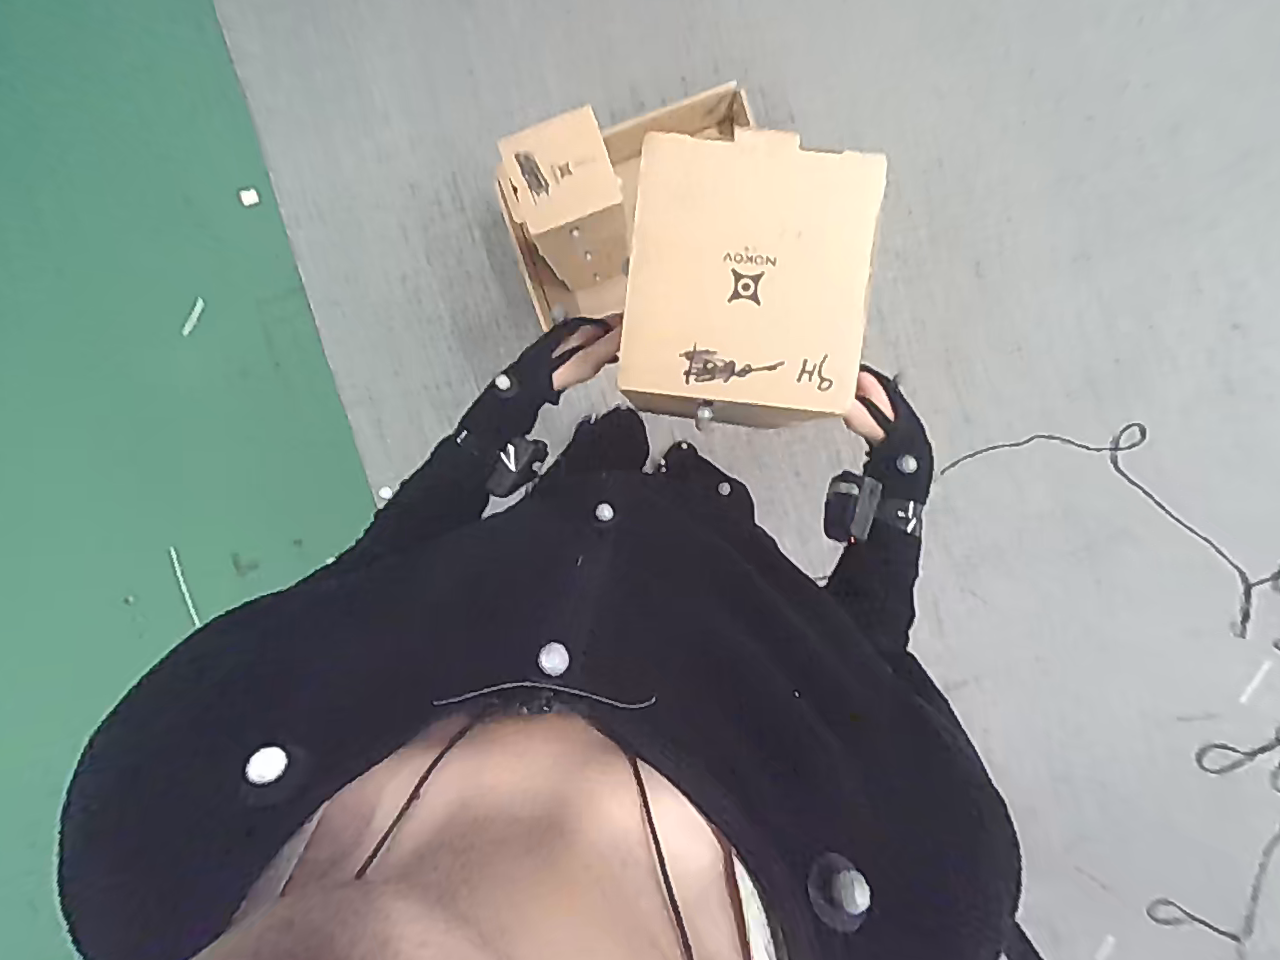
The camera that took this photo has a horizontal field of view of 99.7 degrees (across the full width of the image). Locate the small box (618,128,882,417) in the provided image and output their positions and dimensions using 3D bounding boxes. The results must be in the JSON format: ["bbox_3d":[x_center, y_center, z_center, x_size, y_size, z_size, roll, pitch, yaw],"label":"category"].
[{"bbox_3d":[0.078,-0.151,0.452,0.168,0.176,0.179,7,94,3],"label":"small box"}]

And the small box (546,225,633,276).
[{"bbox_3d":[-0.123,-0.562,1.164,0.179,0.176,0.168,-19,97,5],"label":"small box"}]

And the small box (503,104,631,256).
[{"bbox_3d":[-0.125,-0.539,1.002,0.179,0.176,0.168,-19,97,4],"label":"small box"}]

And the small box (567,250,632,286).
[{"bbox_3d":[-0.120,-0.593,1.324,0.168,0.176,0.179,-20,95,4],"label":"small box"}]
